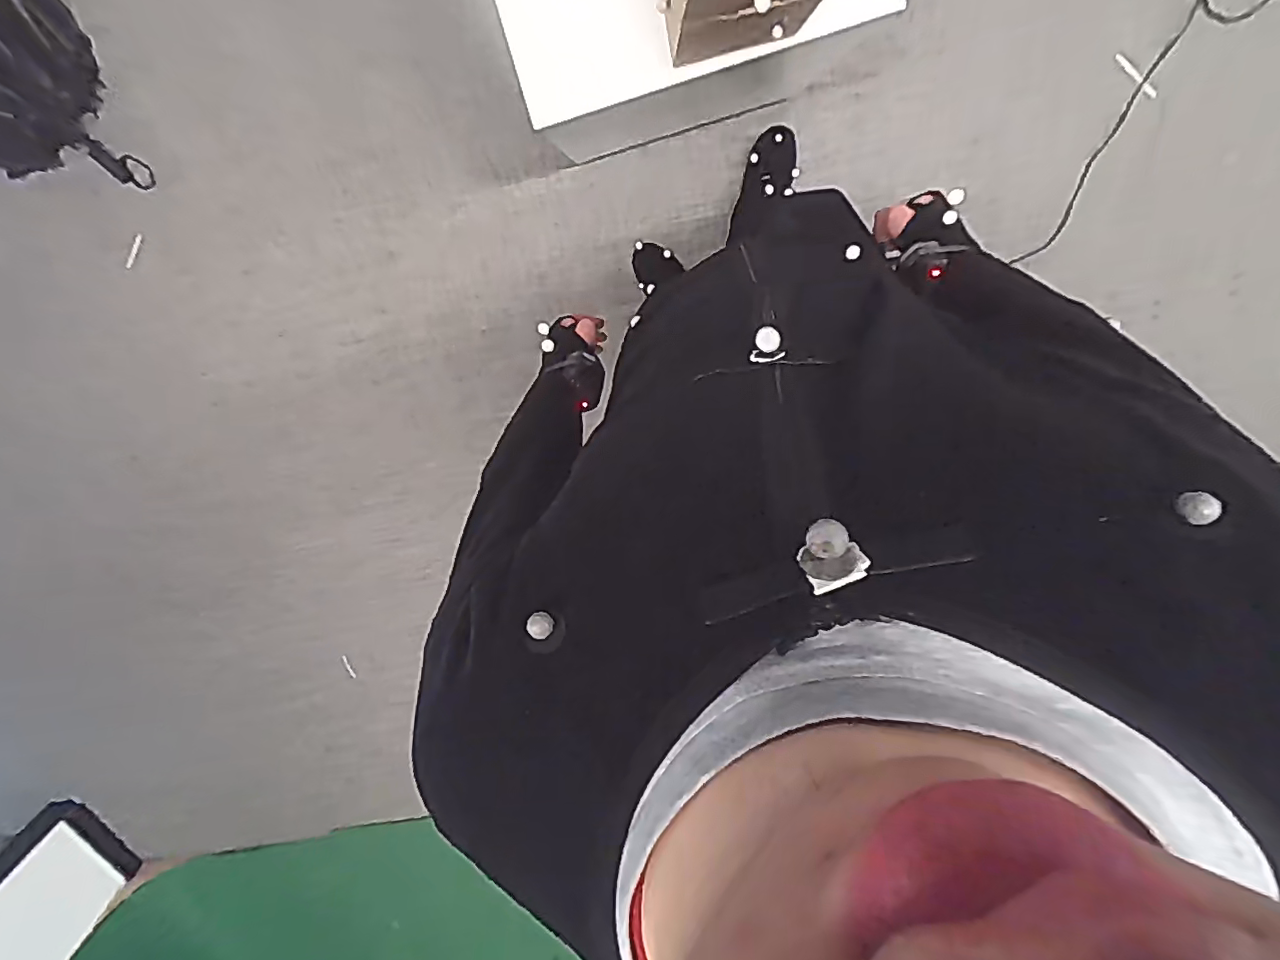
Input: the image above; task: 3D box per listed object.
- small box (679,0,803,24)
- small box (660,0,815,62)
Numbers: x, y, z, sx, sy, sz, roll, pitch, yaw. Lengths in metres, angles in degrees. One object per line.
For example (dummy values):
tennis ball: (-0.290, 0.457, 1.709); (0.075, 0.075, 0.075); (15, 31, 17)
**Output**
small box: (0.108, -0.537, 0.459); (0.168, 0.176, 0.179); (-10, 115, 5)
small box: (0.106, -0.605, 0.608); (0.168, 0.176, 0.179); (-12, 113, 4)
